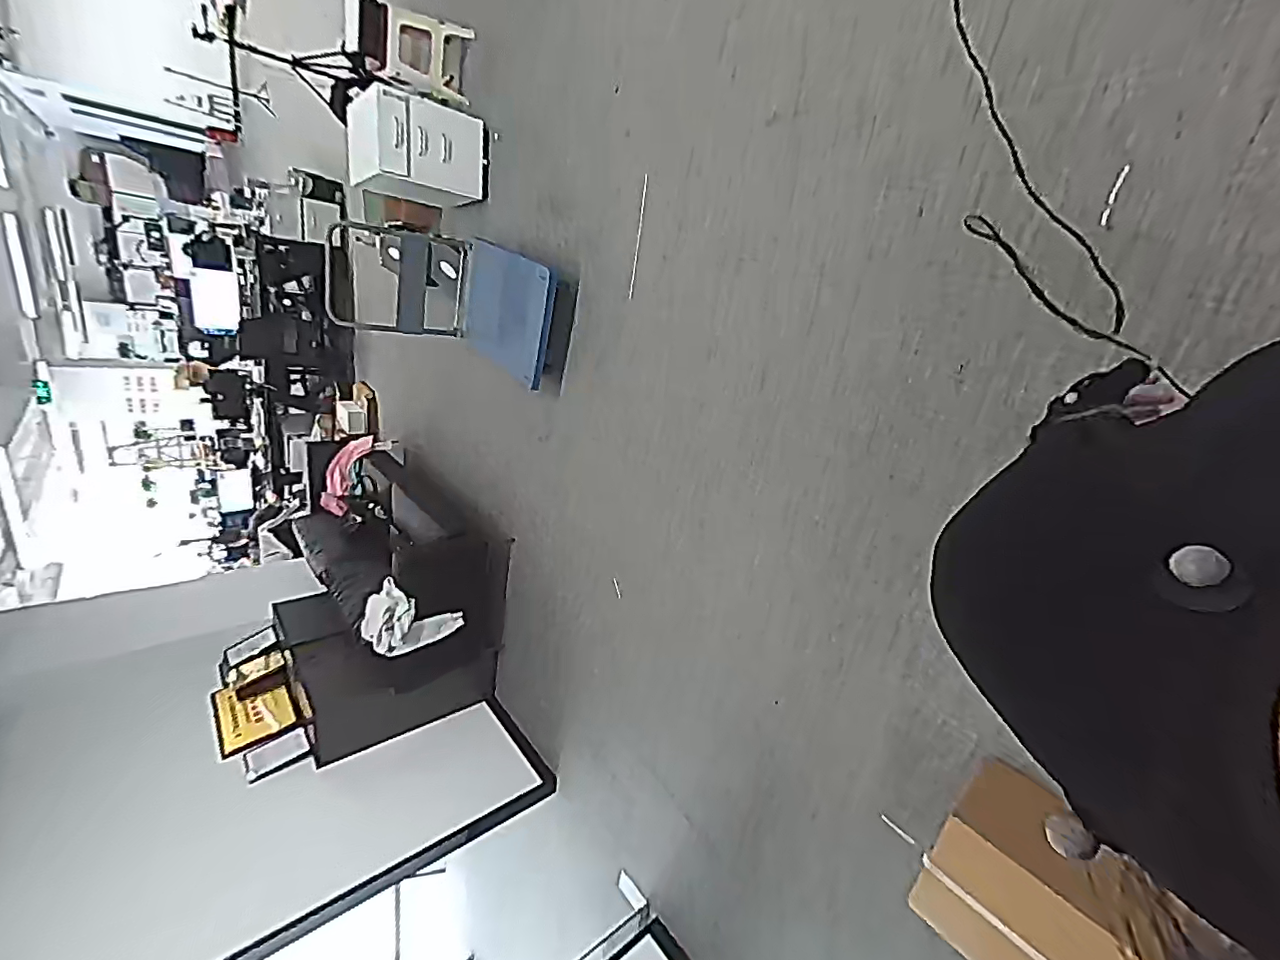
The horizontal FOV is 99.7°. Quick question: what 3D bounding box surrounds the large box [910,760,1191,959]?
[{"bbox_3d":[0.918,0.949,1.236,0.408,0.320,0.320,29,117,42],"label":"large box"}]
